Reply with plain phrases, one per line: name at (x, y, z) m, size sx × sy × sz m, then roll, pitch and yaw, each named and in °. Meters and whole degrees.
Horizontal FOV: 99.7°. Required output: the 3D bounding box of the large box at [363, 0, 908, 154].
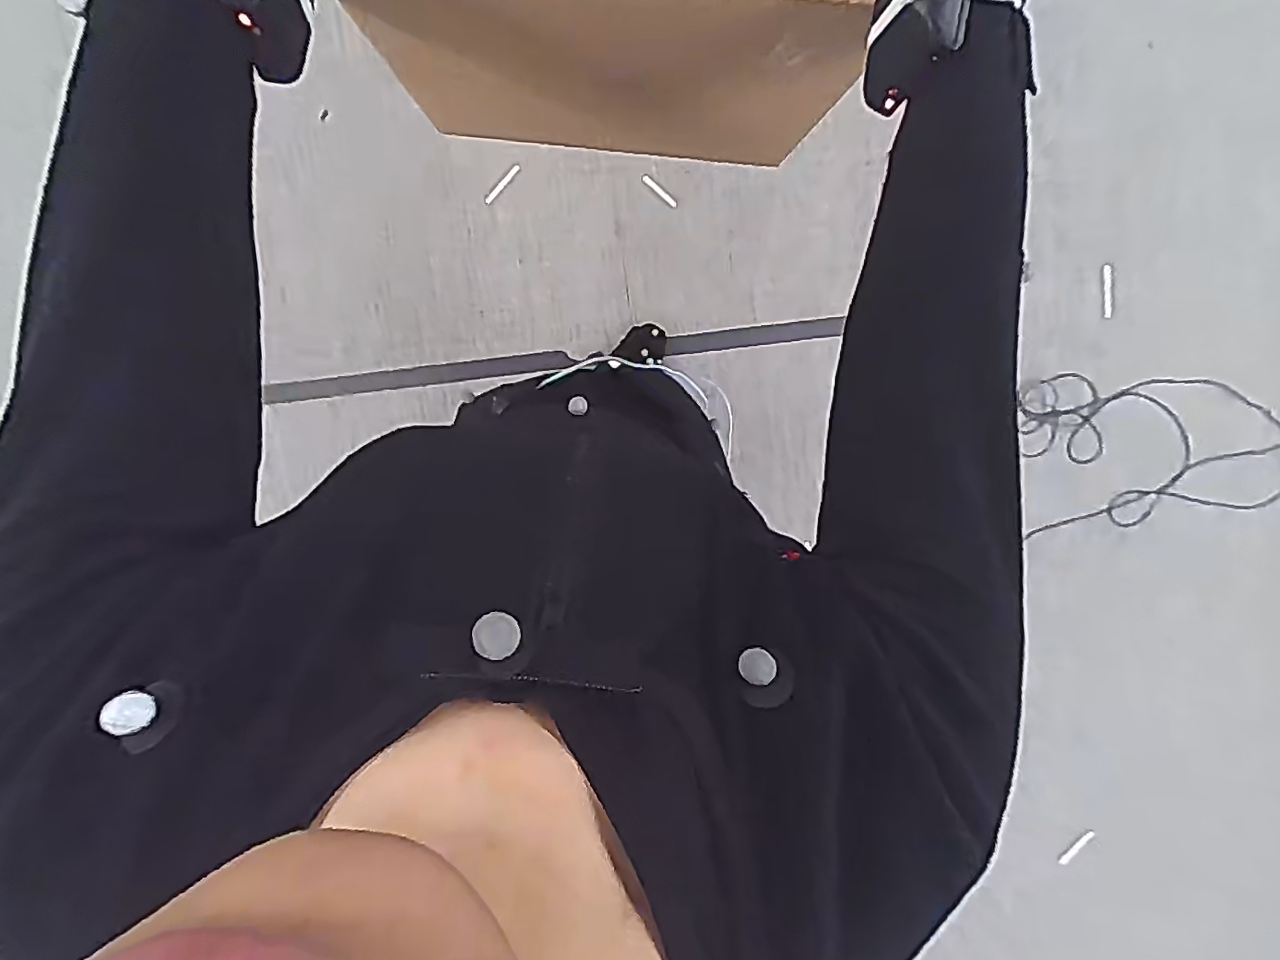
large box at (-0.012, -0.514, 0.464) m, size 0.408 × 0.320 × 0.320 m, roll 3°, pitch 104°, yaw -5°
